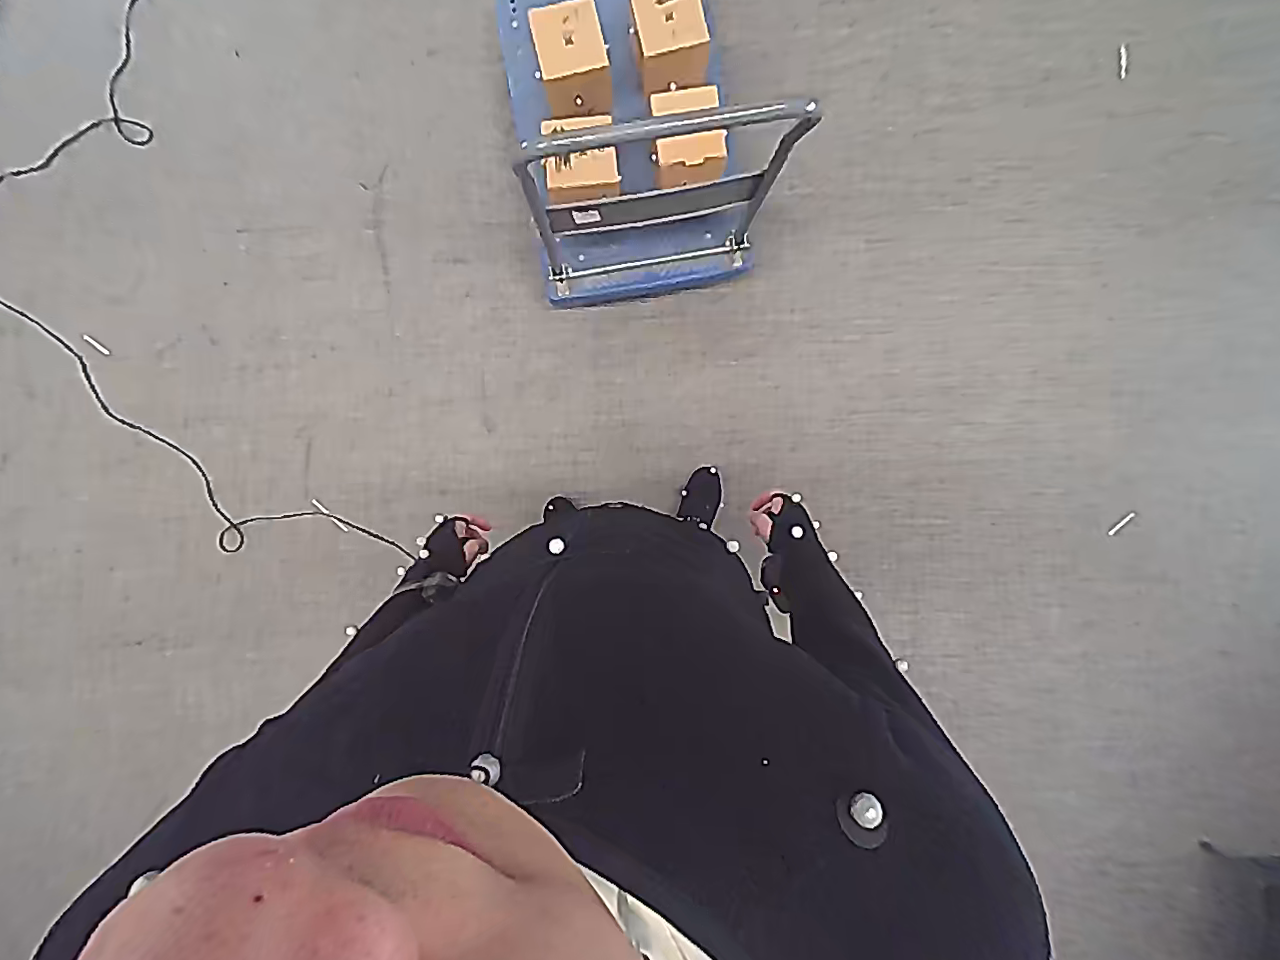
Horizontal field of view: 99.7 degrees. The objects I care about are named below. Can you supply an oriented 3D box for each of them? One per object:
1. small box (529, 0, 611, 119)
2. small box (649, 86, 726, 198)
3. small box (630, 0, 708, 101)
[{"bbox_3d":[-0.175,-1.073,1.397,0.168,0.176,0.179,-14,90,-1],"label":"small box"},{"bbox_3d":[0.117,-0.868,1.400,0.168,0.176,0.179,-9,91,0],"label":"small box"},{"bbox_3d":[0.070,-1.134,1.397,0.168,0.176,0.179,-13,91,1],"label":"small box"}]
